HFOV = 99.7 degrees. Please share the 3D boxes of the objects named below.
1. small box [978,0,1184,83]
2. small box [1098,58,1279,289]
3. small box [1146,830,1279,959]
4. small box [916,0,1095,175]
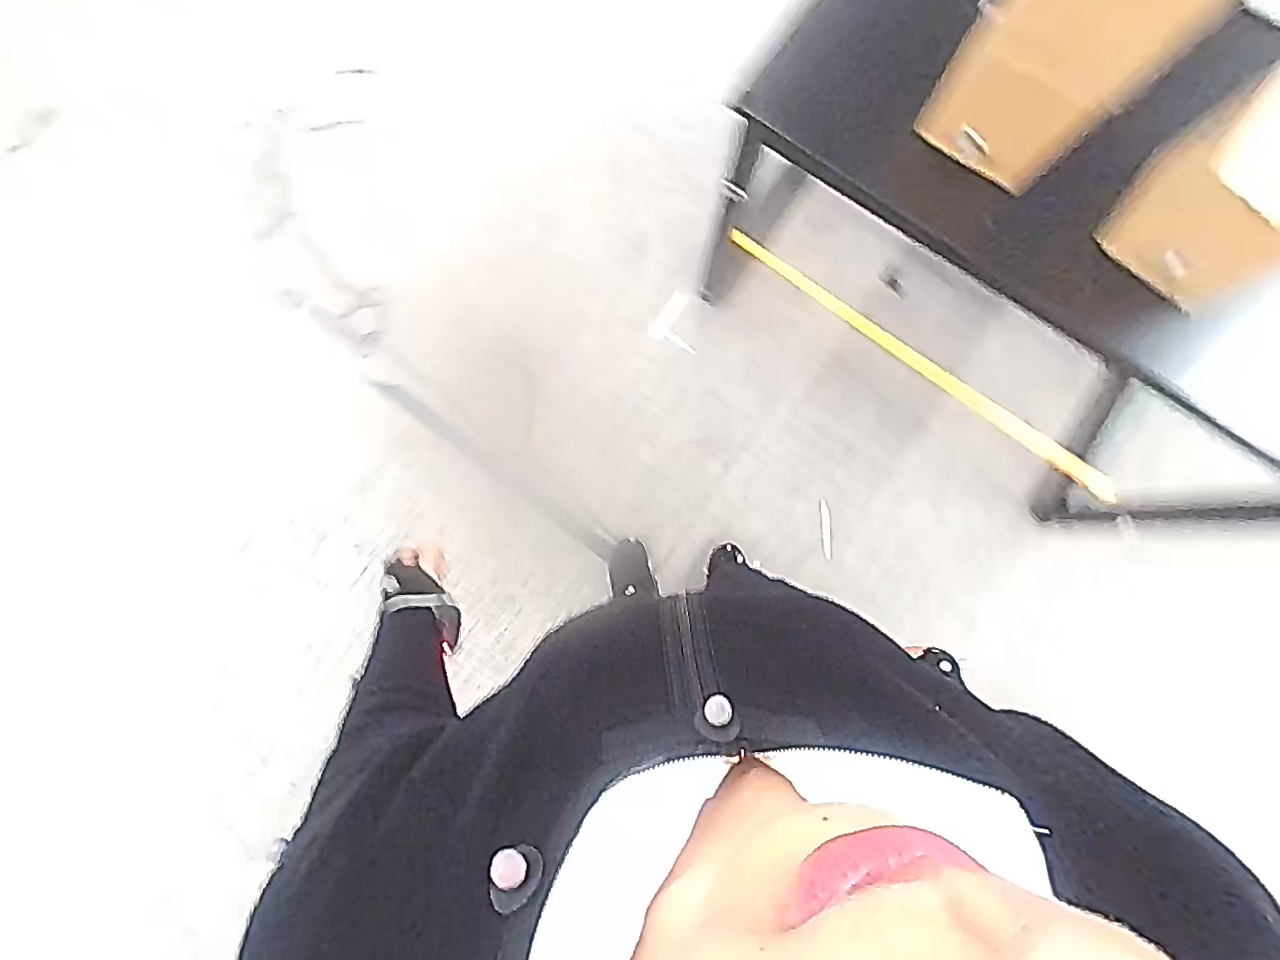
[{"bbox_3d":[0.522,-0.592,0.592,0.179,0.176,0.168,29,86,2],"label":"small box"},{"bbox_3d":[0.796,-0.403,0.741,0.168,0.176,0.179,38,86,3],"label":"small box"},{"bbox_3d":[1.456,1.031,1.365,0.179,0.176,0.168,33,86,3],"label":"small box"},{"bbox_3d":[0.526,-0.581,0.756,0.168,0.176,0.179,30,87,3],"label":"small box"}]
